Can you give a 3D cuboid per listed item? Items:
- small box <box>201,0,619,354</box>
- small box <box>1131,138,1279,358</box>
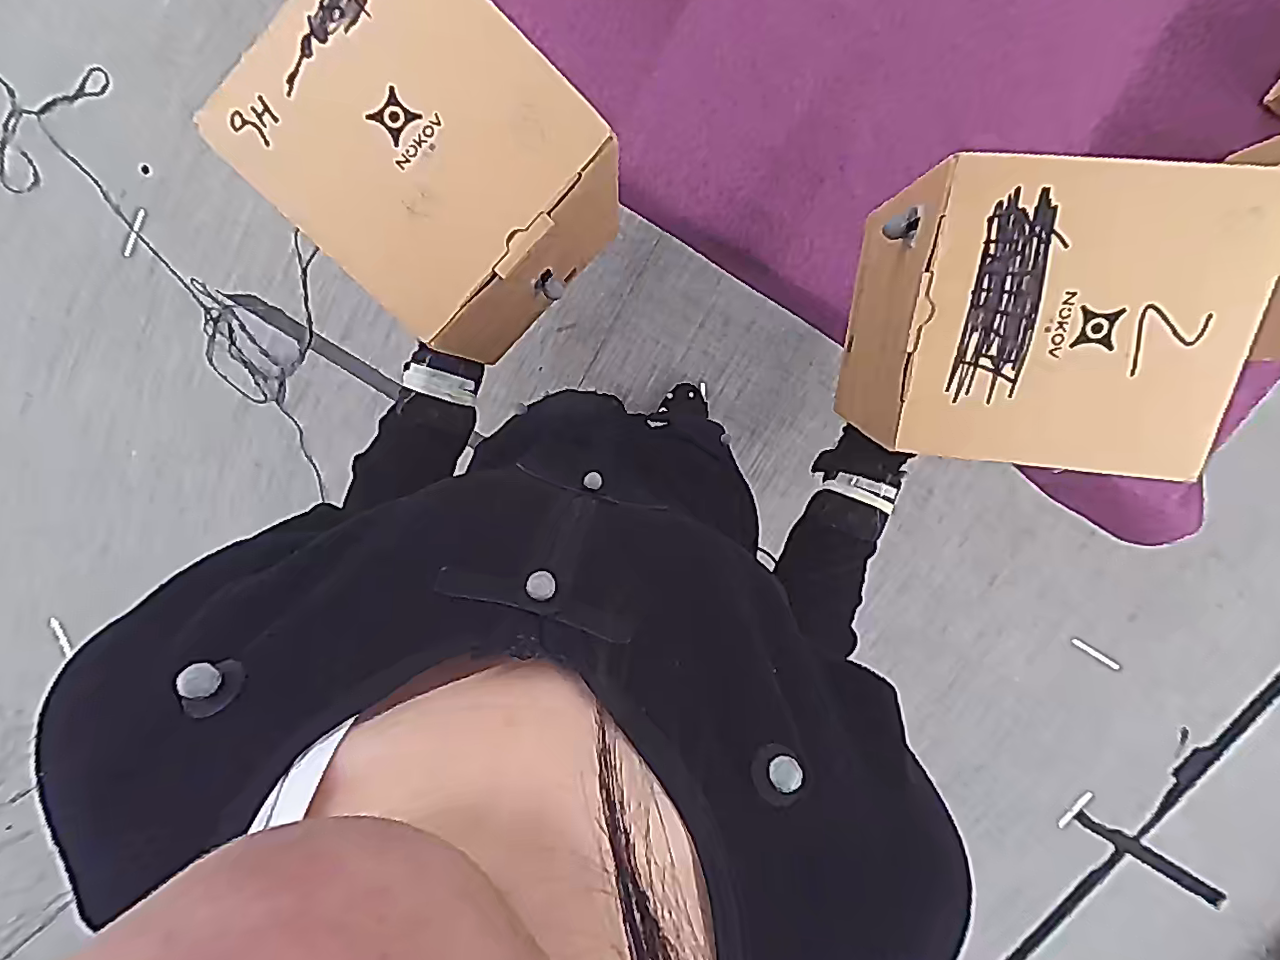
[{"bbox_3d":[-0.130,-0.206,0.383,0.179,0.176,0.168,43,94,-8],"label":"small box"},{"bbox_3d":[0.686,-0.244,0.570,0.168,0.176,0.179,36,101,-2],"label":"small box"}]
